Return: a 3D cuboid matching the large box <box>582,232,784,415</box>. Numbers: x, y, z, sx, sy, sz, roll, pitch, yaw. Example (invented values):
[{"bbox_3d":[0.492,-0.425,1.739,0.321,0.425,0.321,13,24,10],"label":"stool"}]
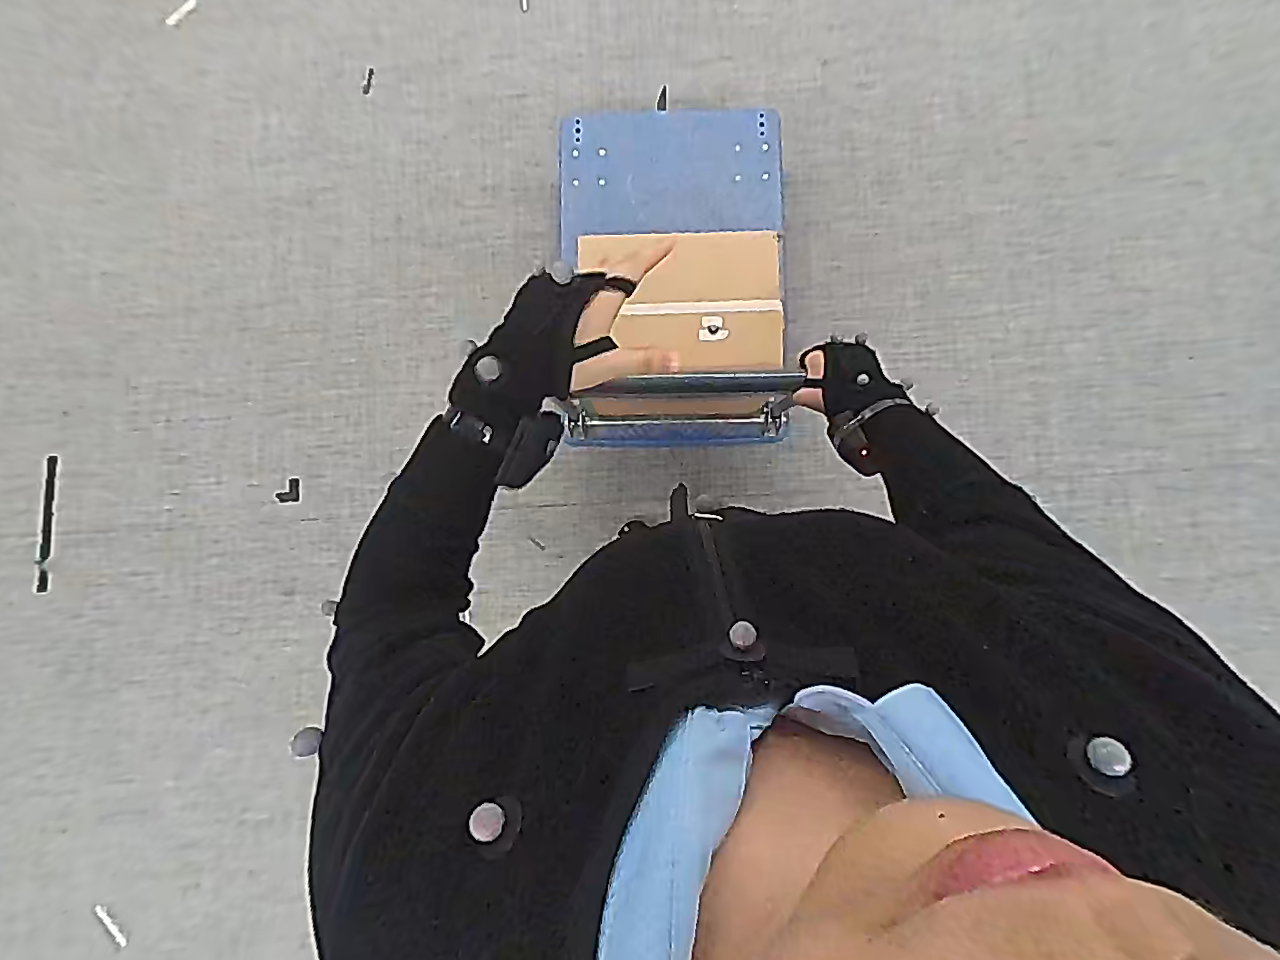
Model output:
[{"bbox_3d":[0.084,-0.335,1.235,0.408,0.320,0.320,-1,87,1],"label":"large box"}]
